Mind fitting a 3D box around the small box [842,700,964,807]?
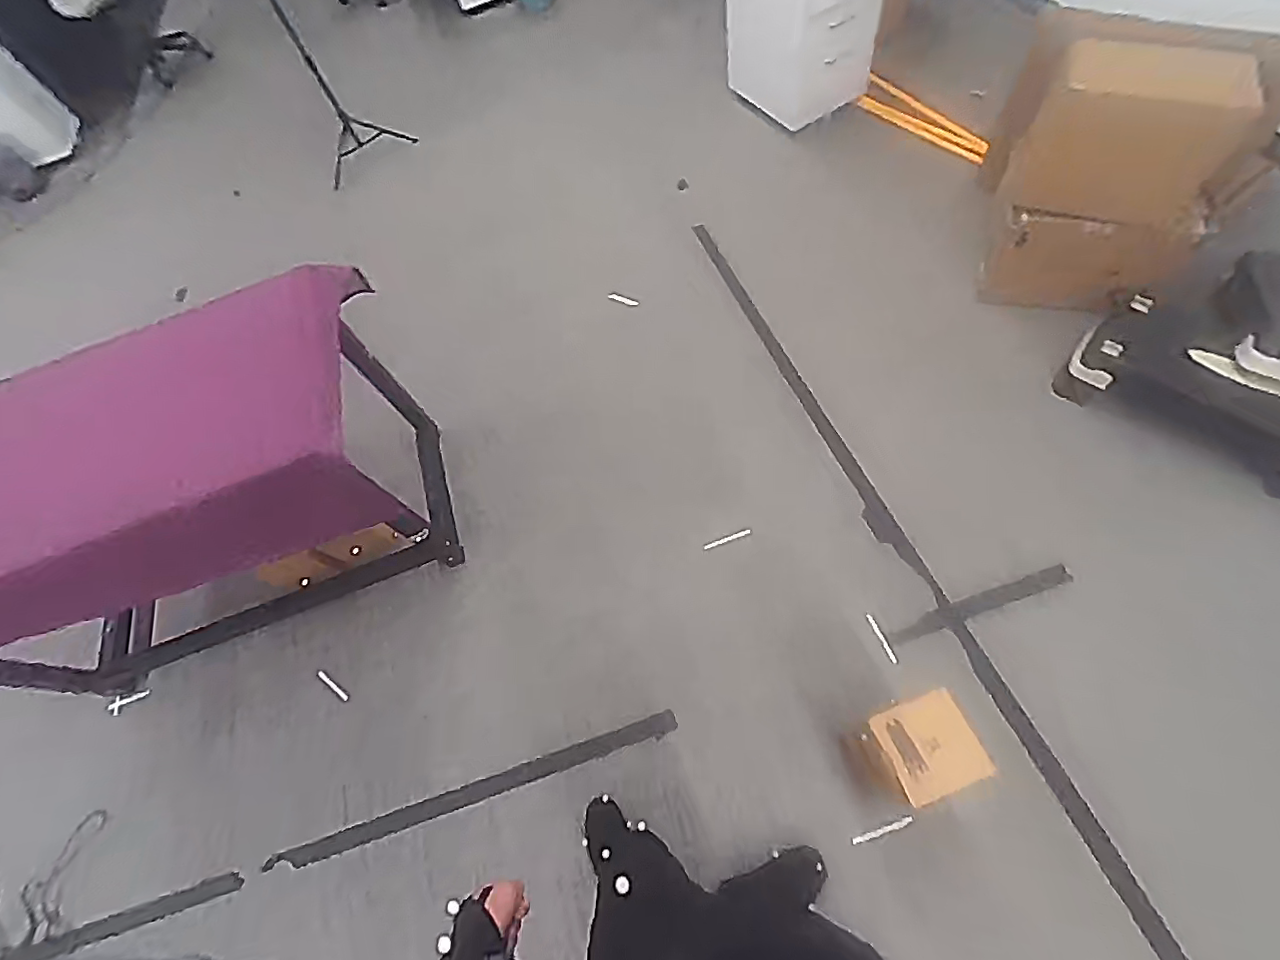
[{"bbox_3d":[0.598,0.631,1.259,0.179,0.176,0.168,-24,62,-1],"label":"small box"}]
